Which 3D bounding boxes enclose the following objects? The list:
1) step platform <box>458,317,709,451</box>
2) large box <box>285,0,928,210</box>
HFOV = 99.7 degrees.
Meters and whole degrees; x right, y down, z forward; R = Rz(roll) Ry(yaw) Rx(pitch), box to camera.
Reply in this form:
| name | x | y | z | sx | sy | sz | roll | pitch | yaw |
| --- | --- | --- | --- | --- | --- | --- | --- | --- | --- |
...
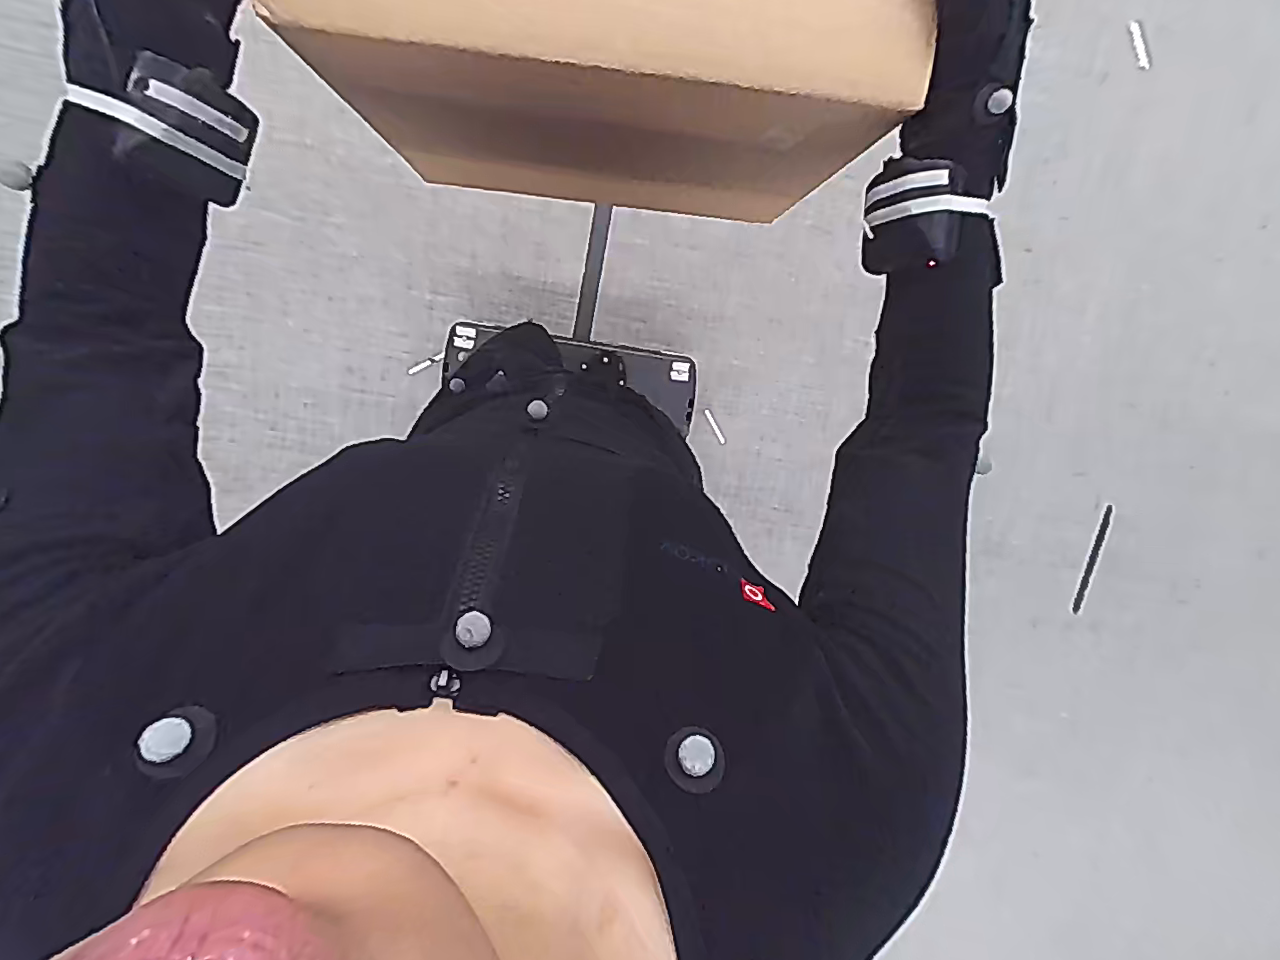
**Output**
| name | x | y | z | sx | sy | sz | roll | pitch | yaw |
| --- | --- | --- | --- | --- | --- | --- | --- | --- | --- |
| step platform | -0.152 | -0.266 | 1.522 | 0.684 | 0.204 | 0.286 | 7 | 102 | -7 |
| large box | -0.018 | -0.445 | 0.451 | 0.408 | 0.320 | 0.320 | 4 | 104 | -6 |
